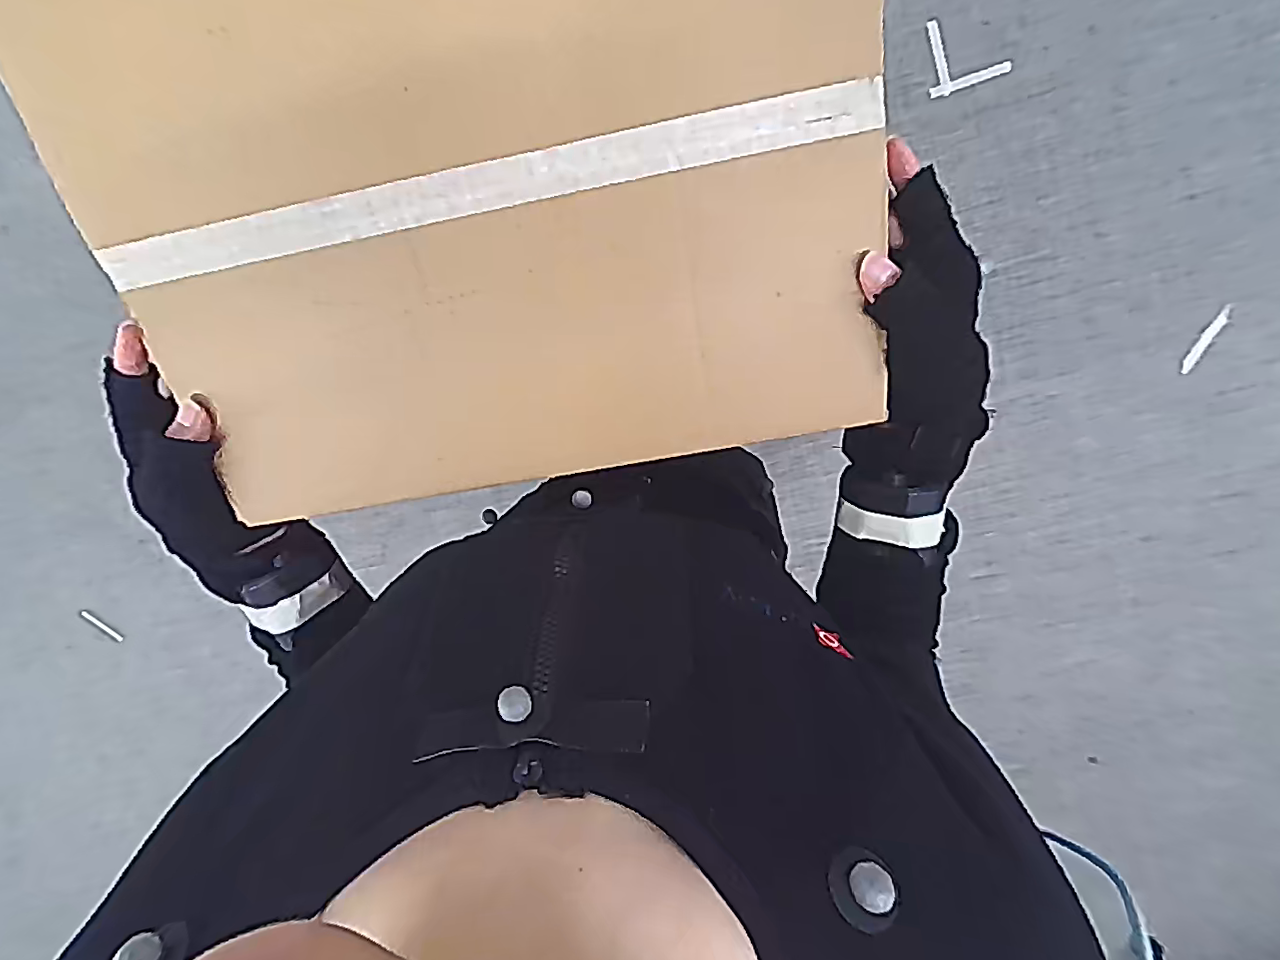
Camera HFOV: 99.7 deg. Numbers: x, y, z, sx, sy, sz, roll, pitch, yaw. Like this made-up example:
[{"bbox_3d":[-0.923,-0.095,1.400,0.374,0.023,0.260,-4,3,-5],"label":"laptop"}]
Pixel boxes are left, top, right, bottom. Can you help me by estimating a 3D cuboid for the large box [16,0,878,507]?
[{"bbox_3d":[-0.080,-0.210,0.422,0.408,0.320,0.320,-9,113,5],"label":"large box"}]
